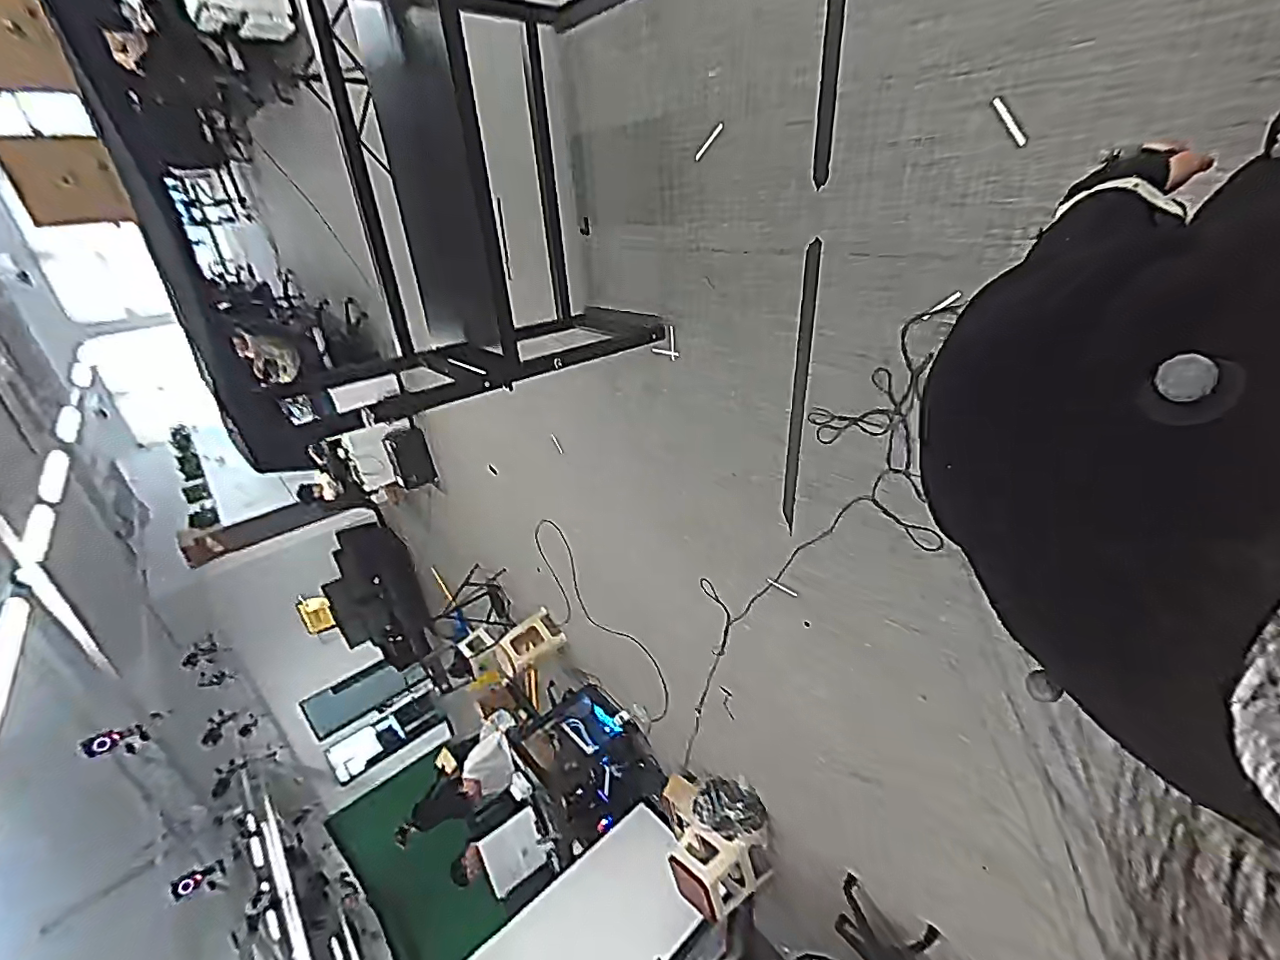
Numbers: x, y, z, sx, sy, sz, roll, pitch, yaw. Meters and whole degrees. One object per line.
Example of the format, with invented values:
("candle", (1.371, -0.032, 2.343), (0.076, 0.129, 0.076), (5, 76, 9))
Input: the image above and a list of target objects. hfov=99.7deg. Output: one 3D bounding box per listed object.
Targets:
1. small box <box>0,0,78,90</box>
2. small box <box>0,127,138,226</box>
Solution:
("small box", (-1.189, -0.833, 0.998), (0.179, 0.176, 0.168), (28, 133, 43))
("small box", (-1.178, -0.627, 1.115), (0.179, 0.176, 0.168), (30, 132, 42))
